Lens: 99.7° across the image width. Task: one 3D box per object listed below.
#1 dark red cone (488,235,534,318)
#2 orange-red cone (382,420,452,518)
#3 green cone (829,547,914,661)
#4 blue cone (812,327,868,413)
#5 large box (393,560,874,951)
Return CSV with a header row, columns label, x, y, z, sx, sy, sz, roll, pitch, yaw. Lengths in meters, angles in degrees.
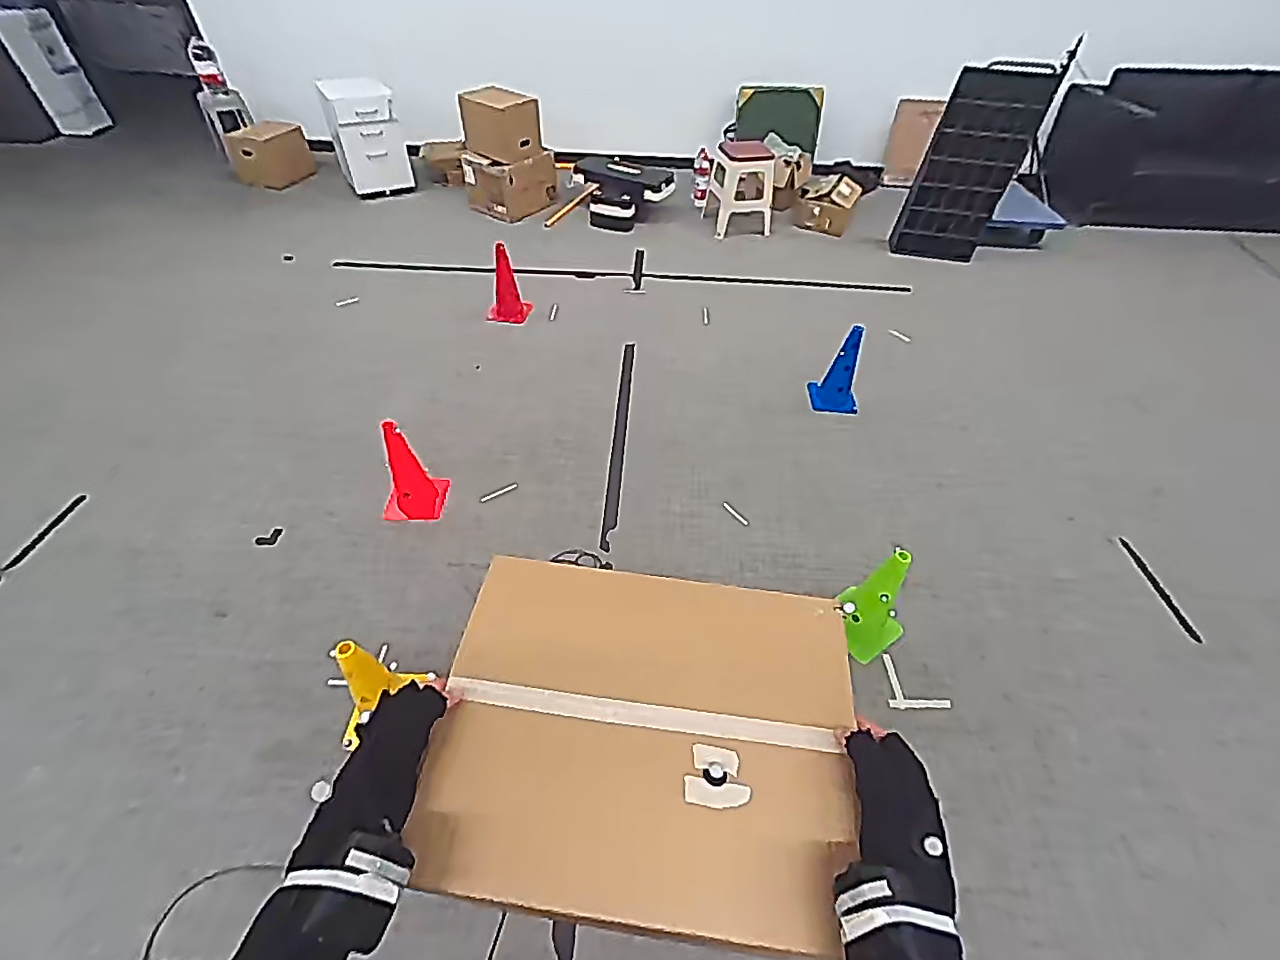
label,x,y,z,sx,sy,sz,roll,pitch,yaw
dark red cone,-0.658,-1.011,2.681,0.201,0.394,0.202,8,47,3
orange-red cone,-0.785,-0.054,1.809,0.198,0.360,0.199,1,48,-1
green cone,0.681,0.316,1.527,0.202,0.368,0.200,-25,54,-26
blue cone,0.881,-0.479,2.307,0.192,0.380,0.193,6,47,2
large box,0.000,0.328,0.644,0.408,0.320,0.320,8,49,3
